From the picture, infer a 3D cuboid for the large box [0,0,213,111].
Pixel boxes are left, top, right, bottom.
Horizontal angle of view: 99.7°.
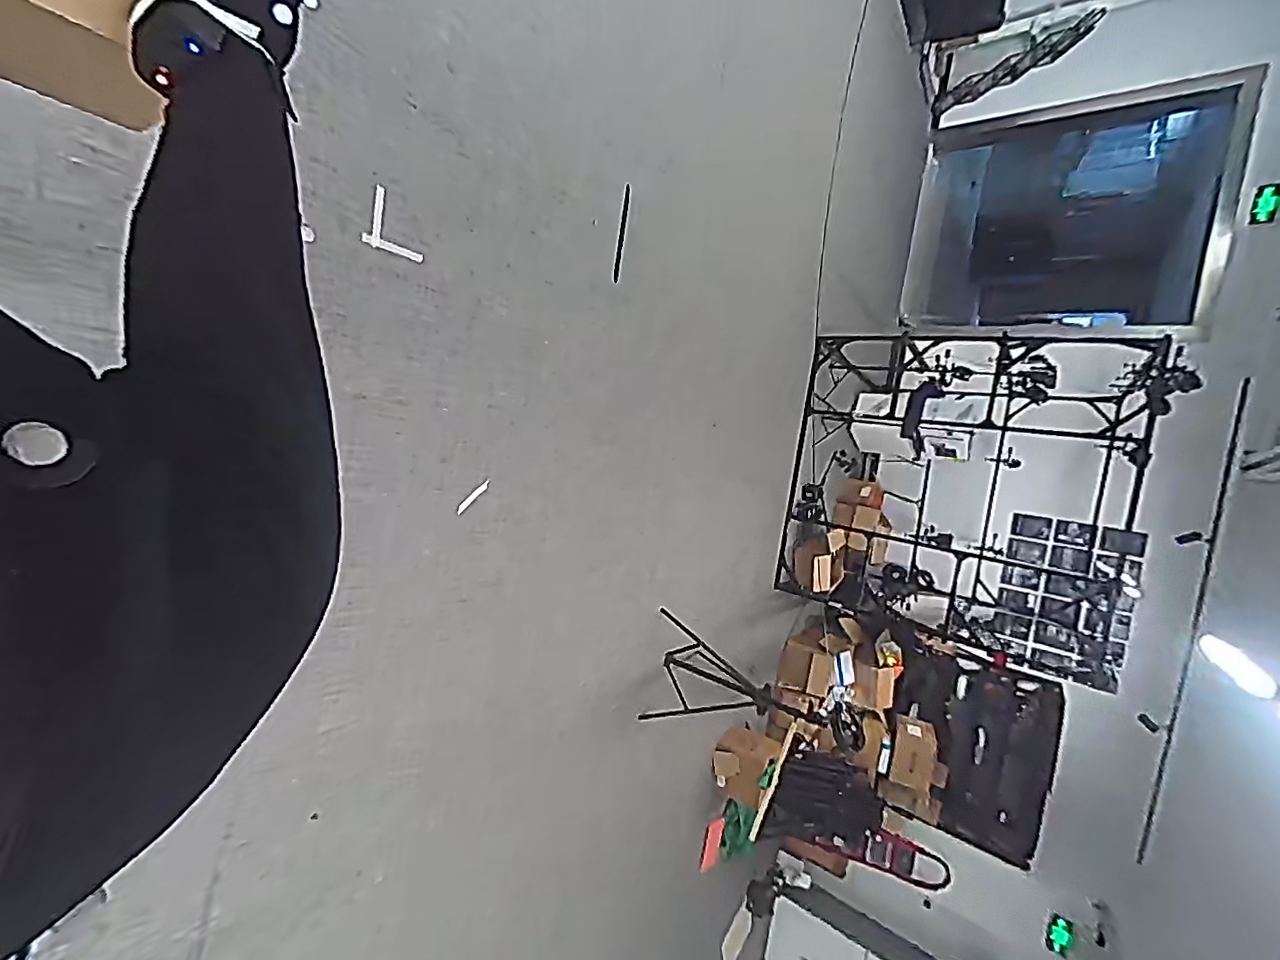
[{"bbox_3d":[-0.567,-0.529,0.366,0.408,0.320,0.320,1,104,-52],"label":"large box"}]
